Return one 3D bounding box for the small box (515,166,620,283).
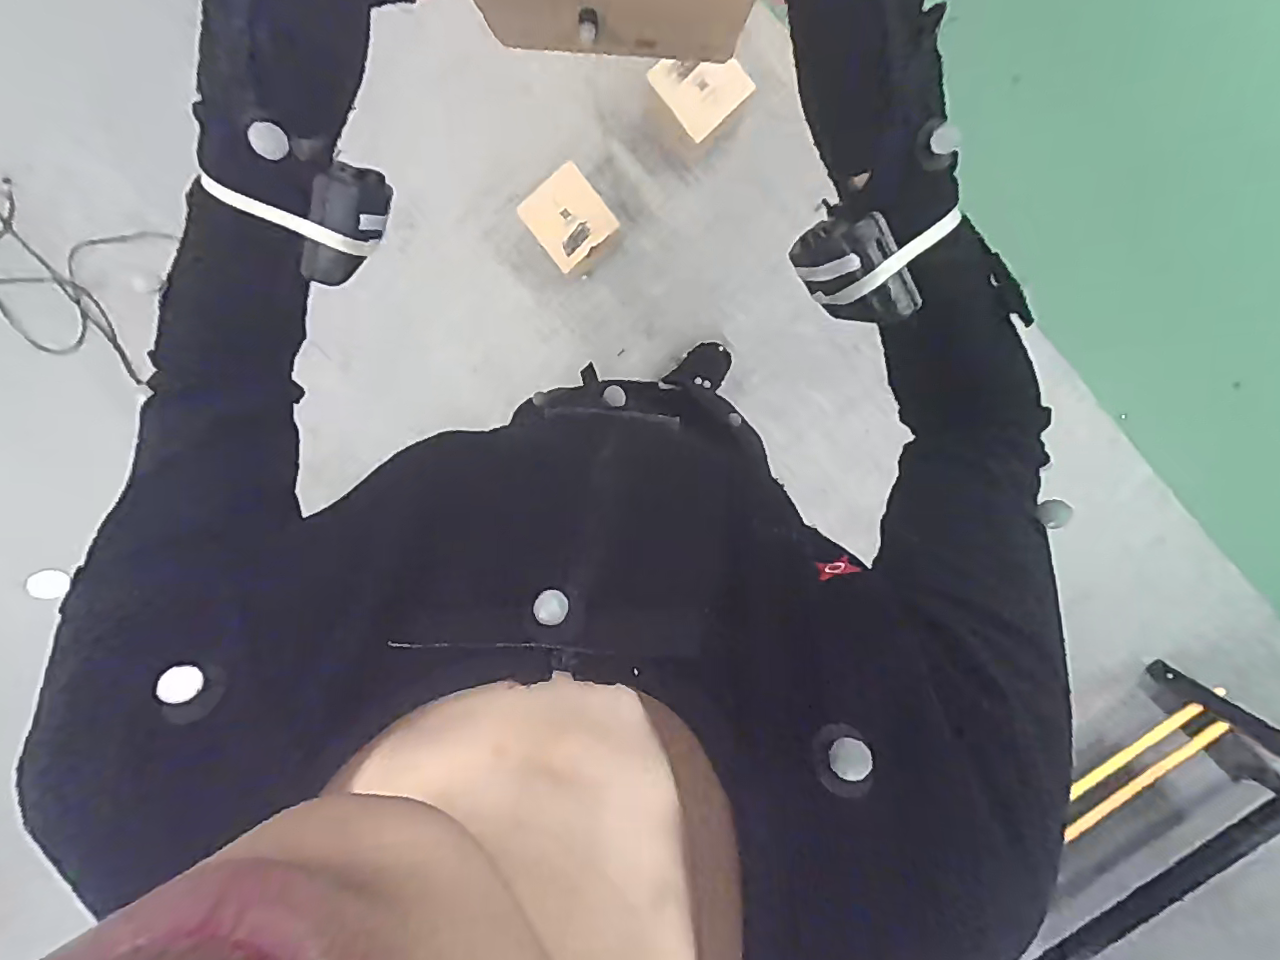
[{"bbox_3d":[-0.159,-0.582,1.266,0.168,0.176,0.179,-39,99,8],"label":"small box"}]
